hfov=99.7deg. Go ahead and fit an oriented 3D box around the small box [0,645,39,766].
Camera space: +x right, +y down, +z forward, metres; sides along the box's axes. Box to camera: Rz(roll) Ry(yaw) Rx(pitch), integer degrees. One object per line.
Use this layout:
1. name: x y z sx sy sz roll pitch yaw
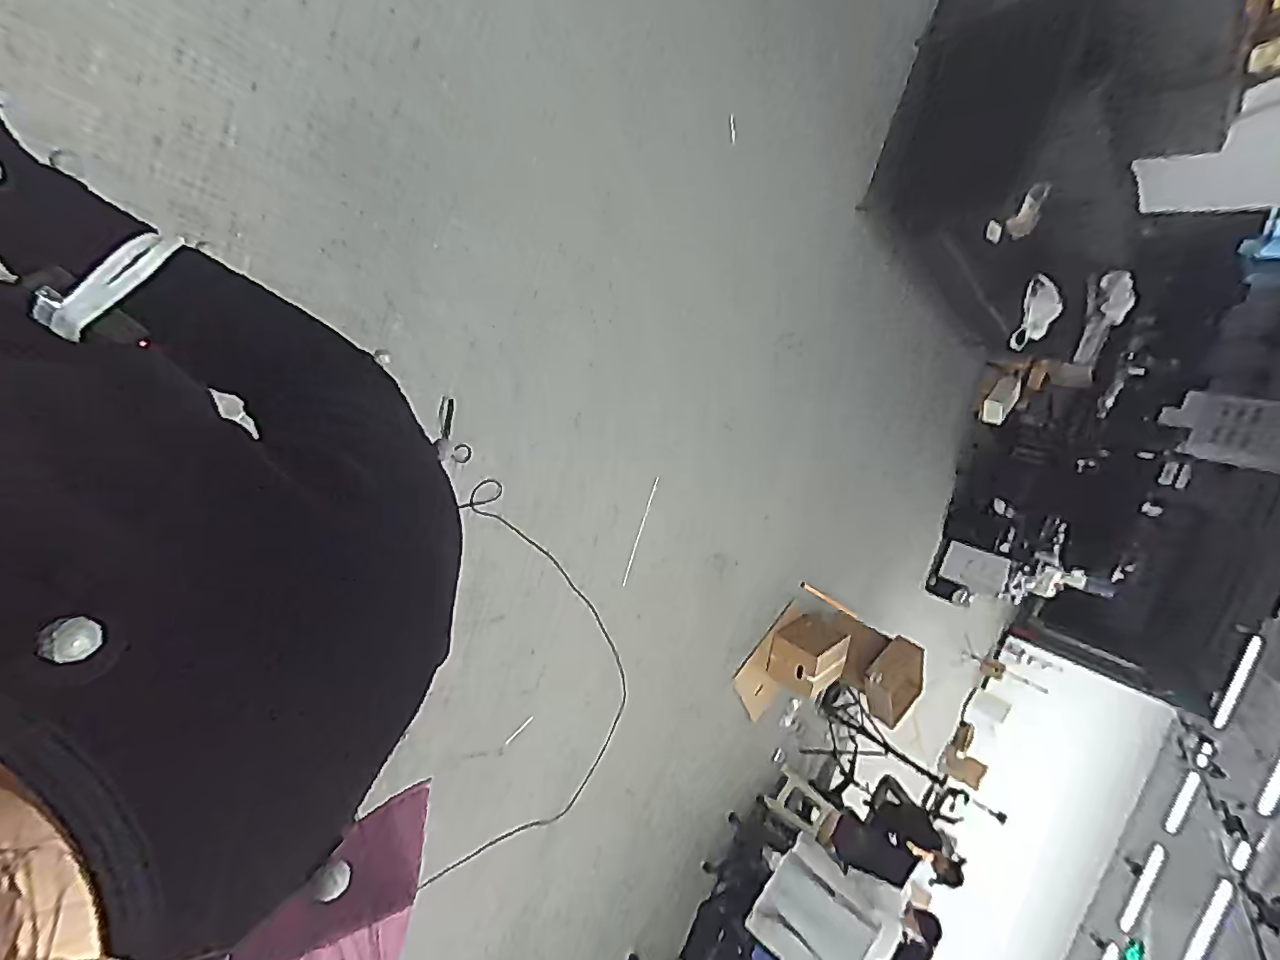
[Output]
1. small box: -1.261 0.423 1.005 0.179 0.176 0.168 10 100 -46
